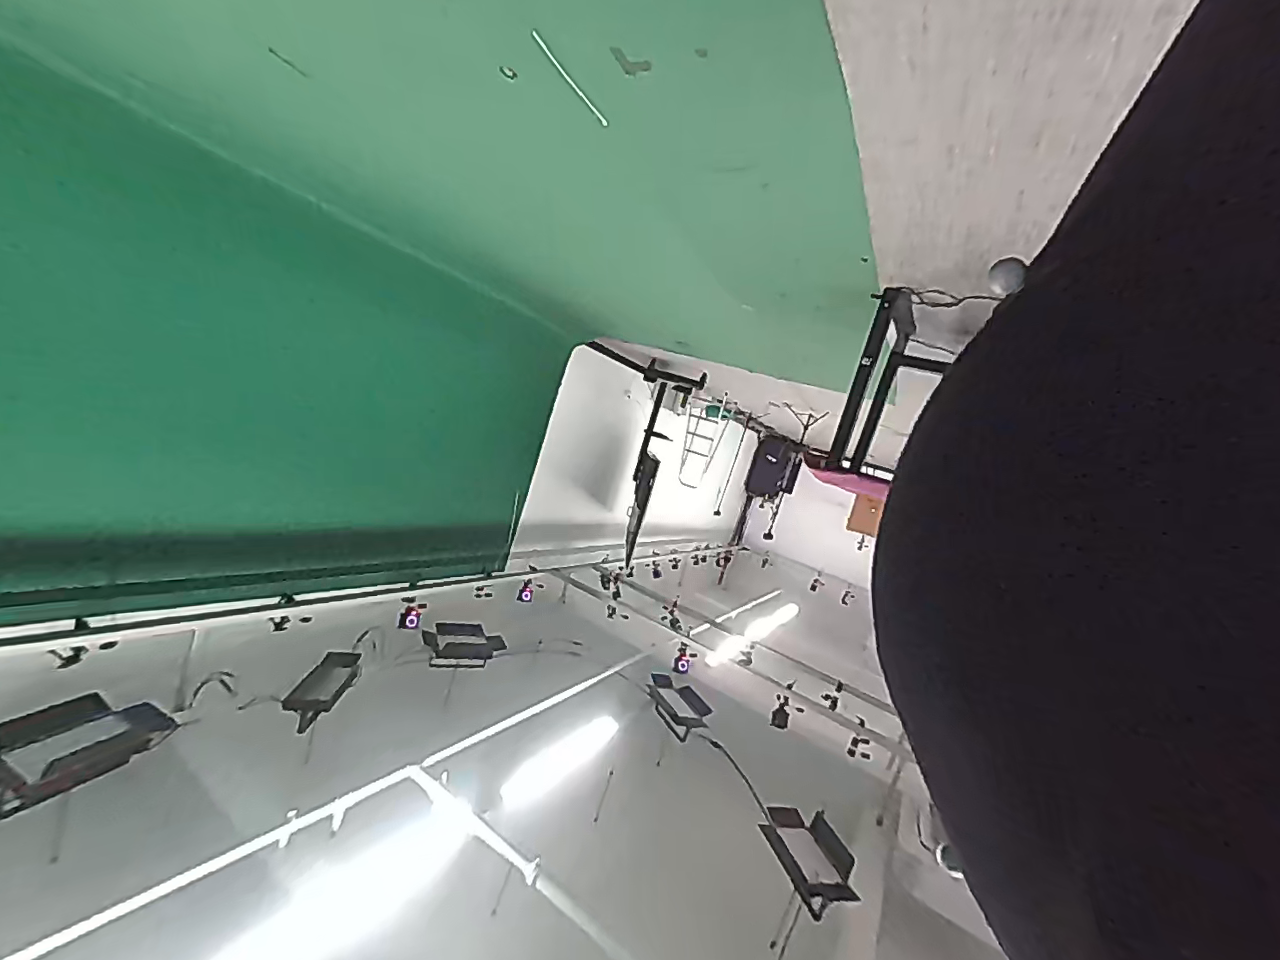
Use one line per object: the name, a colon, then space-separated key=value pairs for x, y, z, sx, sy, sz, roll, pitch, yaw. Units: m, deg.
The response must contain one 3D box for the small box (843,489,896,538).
small box: x=0.989 y=0.141 z=2.322 sx=0.168 sy=0.176 sz=0.179 roll=17 pitch=-176 yaw=26
